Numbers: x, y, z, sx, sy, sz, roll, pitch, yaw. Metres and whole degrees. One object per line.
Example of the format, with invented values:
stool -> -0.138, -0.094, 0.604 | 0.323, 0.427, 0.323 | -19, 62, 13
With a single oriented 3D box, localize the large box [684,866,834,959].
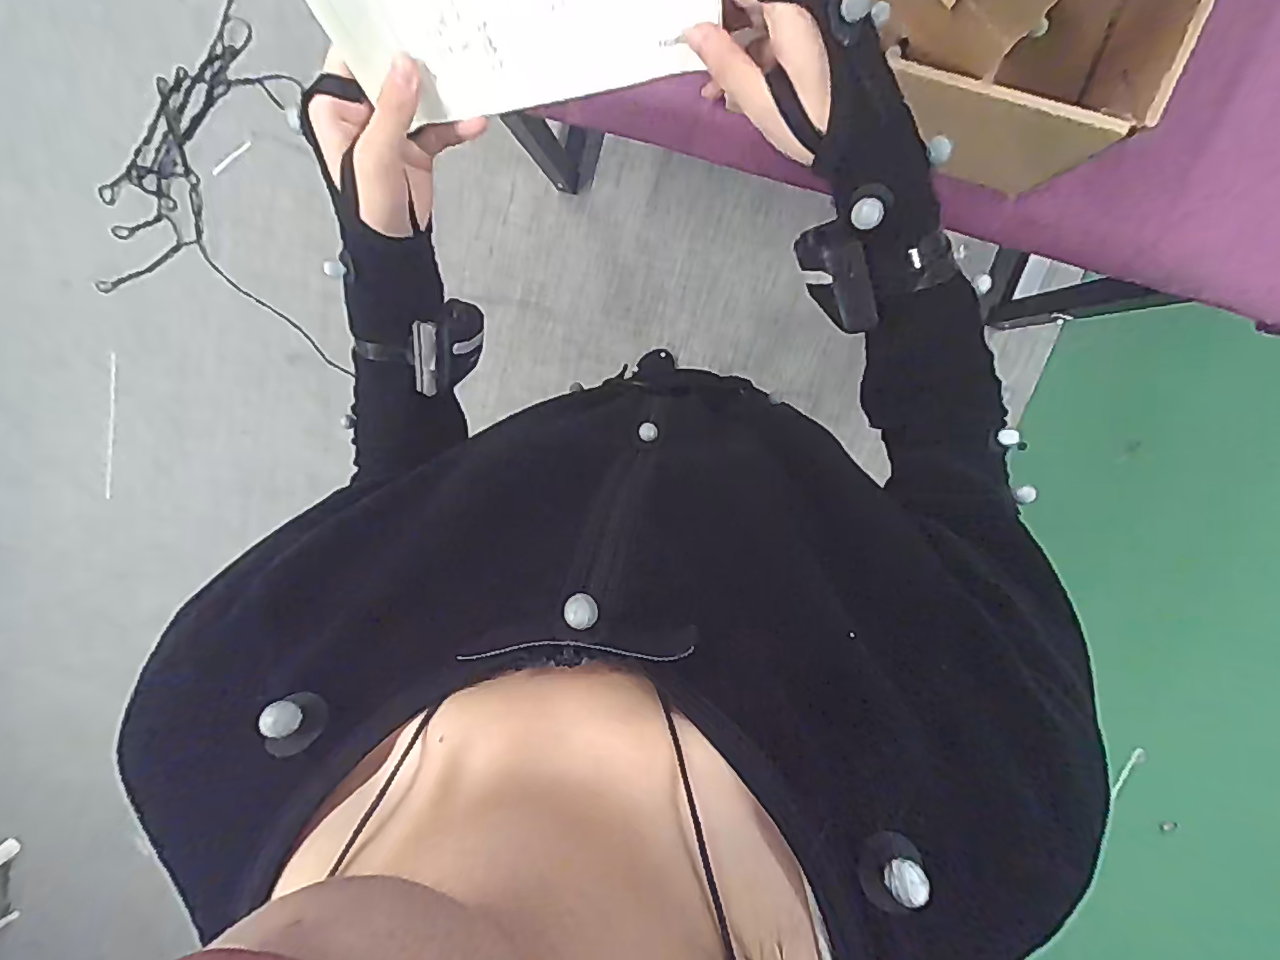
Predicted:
large box -> 0.332, 1.416, 1.596 | 0.408, 0.320, 0.320 | 3, 102, 5
